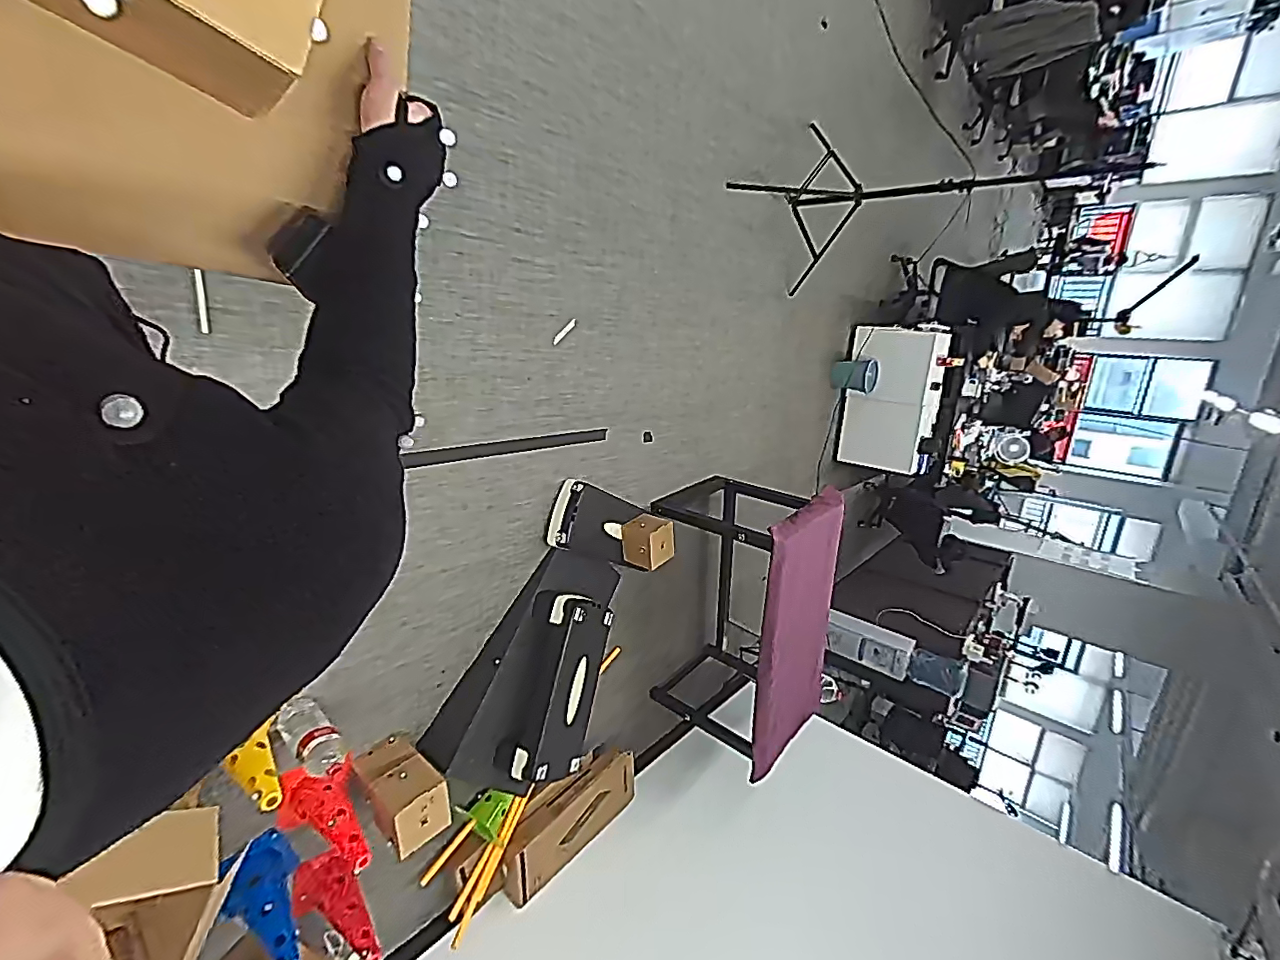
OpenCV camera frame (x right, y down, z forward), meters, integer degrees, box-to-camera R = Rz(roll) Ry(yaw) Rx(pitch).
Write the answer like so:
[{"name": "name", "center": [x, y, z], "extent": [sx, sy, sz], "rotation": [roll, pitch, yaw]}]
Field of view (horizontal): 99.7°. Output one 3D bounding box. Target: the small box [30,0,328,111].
[{"name": "small box", "center": [-0.313, -0.379, 0.355], "extent": [0.179, 0.176, 0.168], "rotation": [14, 98, -44]}]
